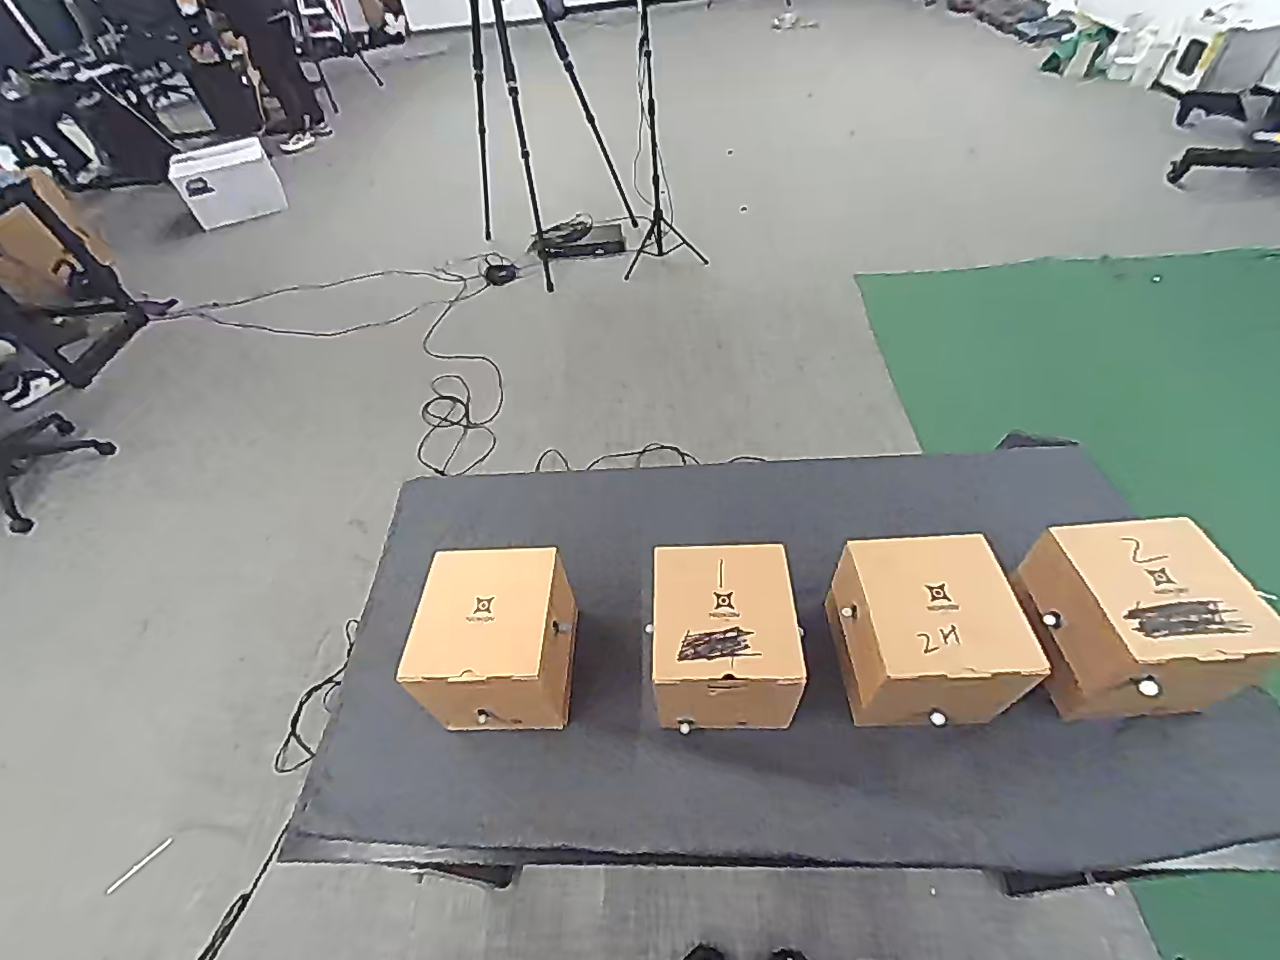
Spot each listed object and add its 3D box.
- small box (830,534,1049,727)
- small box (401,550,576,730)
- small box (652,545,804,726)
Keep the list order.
[{"bbox_3d":[0.346,0.189,0.674,0.168,0.176,0.179,-4,49,5],"label":"small box"},{"bbox_3d":[-0.182,0.212,0.715,0.168,0.176,0.179,-2,48,3],"label":"small box"},{"bbox_3d":[0.105,0.202,0.690,0.168,0.176,0.179,-2,48,5],"label":"small box"}]
